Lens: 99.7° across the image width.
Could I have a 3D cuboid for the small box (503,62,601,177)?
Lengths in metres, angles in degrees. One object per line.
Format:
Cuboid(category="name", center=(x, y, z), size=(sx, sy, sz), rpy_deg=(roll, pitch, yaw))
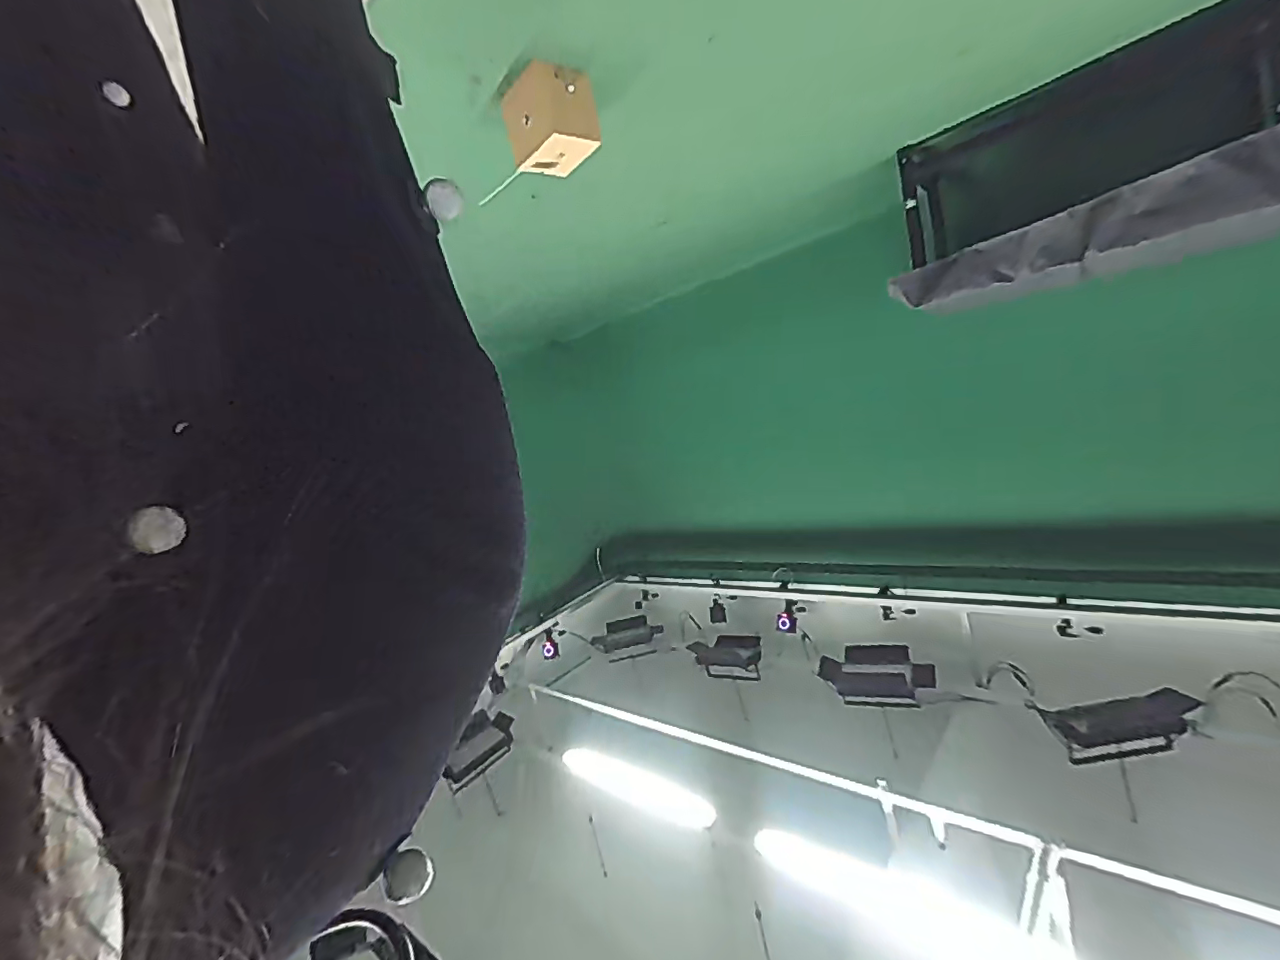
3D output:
Cuboid(category="small box", center=(-0.230, -0.913, 1.384), size=(0.168, 0.176, 0.179), rpy_deg=(-22, -171, -42))
